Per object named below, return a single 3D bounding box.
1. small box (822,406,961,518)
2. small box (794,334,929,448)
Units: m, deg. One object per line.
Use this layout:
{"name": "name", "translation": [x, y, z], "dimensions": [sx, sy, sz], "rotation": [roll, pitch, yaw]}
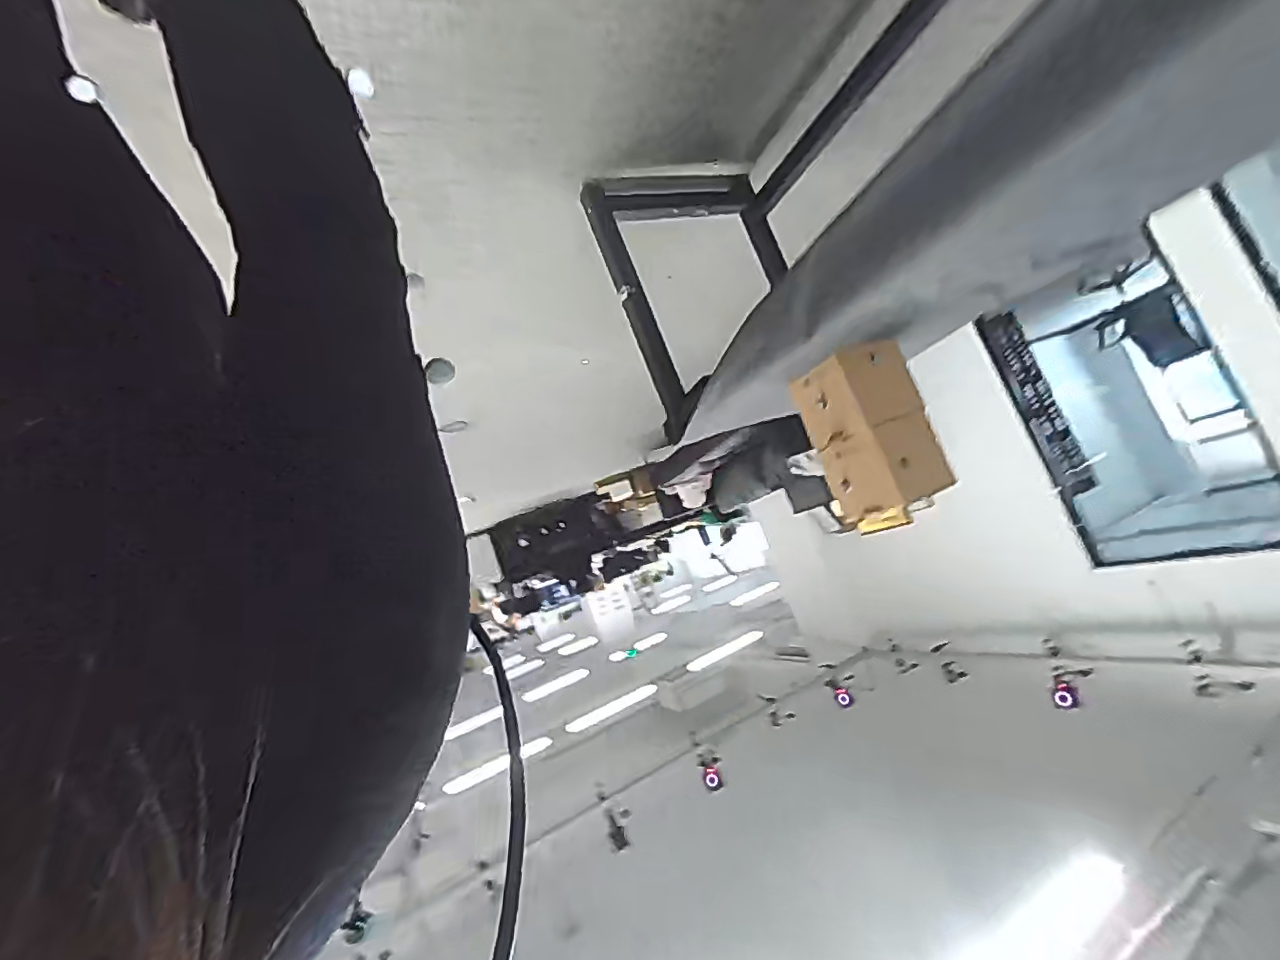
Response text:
{"name": "small box", "translation": [0.520, -0.039, 1.138], "dimensions": [0.179, 0.176, 0.168], "rotation": [-19, 173, -26]}
{"name": "small box", "translation": [0.462, -0.191, 1.155], "dimensions": [0.179, 0.176, 0.168], "rotation": [-18, 172, -23]}
